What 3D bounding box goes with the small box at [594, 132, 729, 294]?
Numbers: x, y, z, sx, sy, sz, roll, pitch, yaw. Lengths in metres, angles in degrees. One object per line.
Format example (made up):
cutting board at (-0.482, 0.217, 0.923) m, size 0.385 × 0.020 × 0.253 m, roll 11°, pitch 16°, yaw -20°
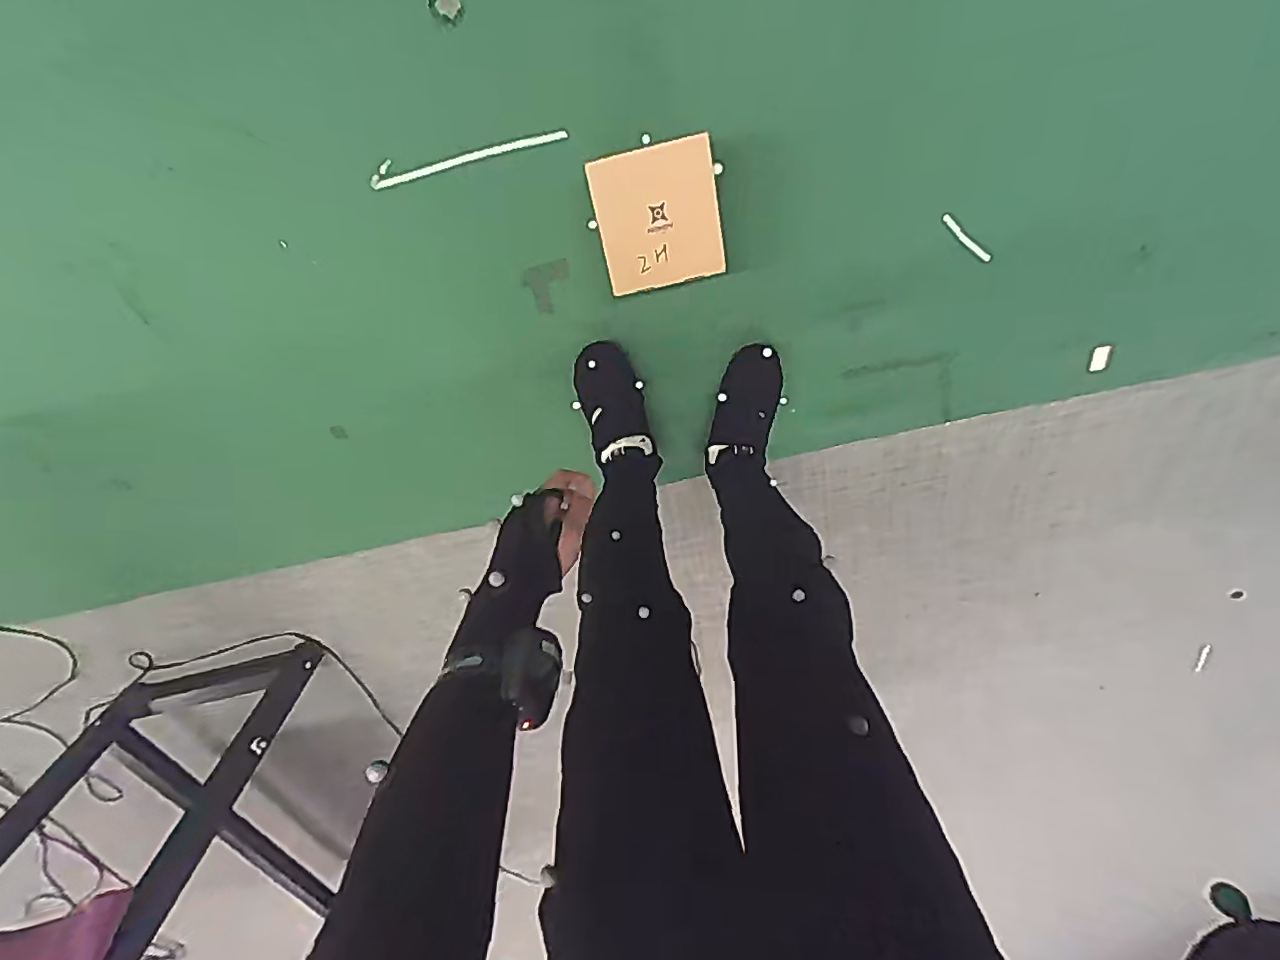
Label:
small box at (0.031, -0.396, 0.806) m, size 0.168 × 0.176 × 0.179 m, roll -10°, pitch 120°, yaw 5°
